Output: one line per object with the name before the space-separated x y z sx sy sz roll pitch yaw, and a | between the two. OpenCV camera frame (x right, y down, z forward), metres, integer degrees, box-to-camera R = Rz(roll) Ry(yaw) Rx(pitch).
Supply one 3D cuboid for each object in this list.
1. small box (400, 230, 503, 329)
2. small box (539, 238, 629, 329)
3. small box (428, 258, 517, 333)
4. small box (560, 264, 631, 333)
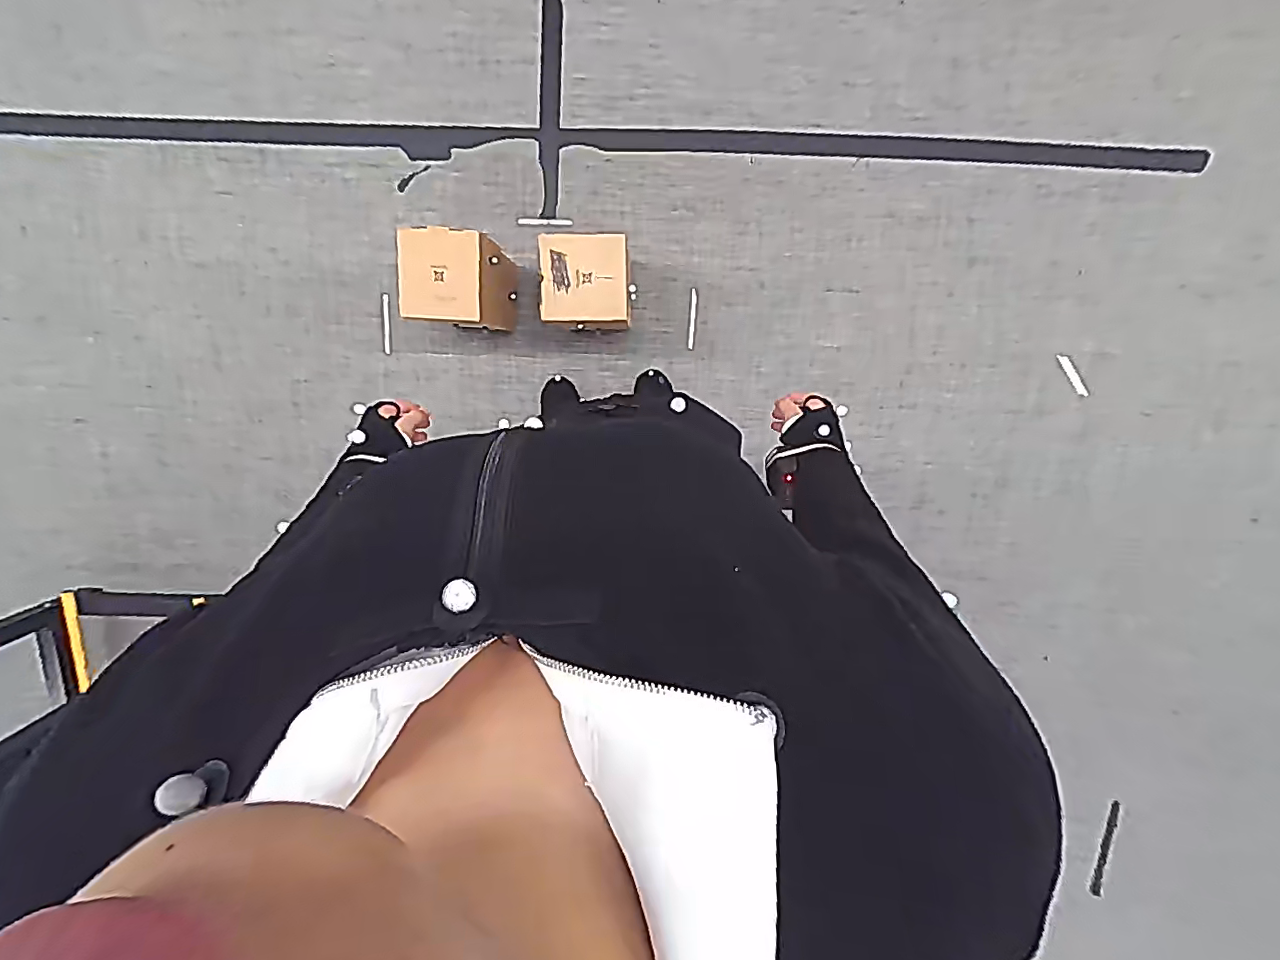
small box | -0.400 -0.425 1.169 0.168 0.176 0.179 3 103 1
small box | -0.115 -0.416 1.168 0.179 0.176 0.168 0 102 0
small box | -0.406 -0.455 1.329 0.179 0.176 0.168 4 102 0
small box | -0.107 -0.454 1.330 0.168 0.176 0.179 0 103 0
